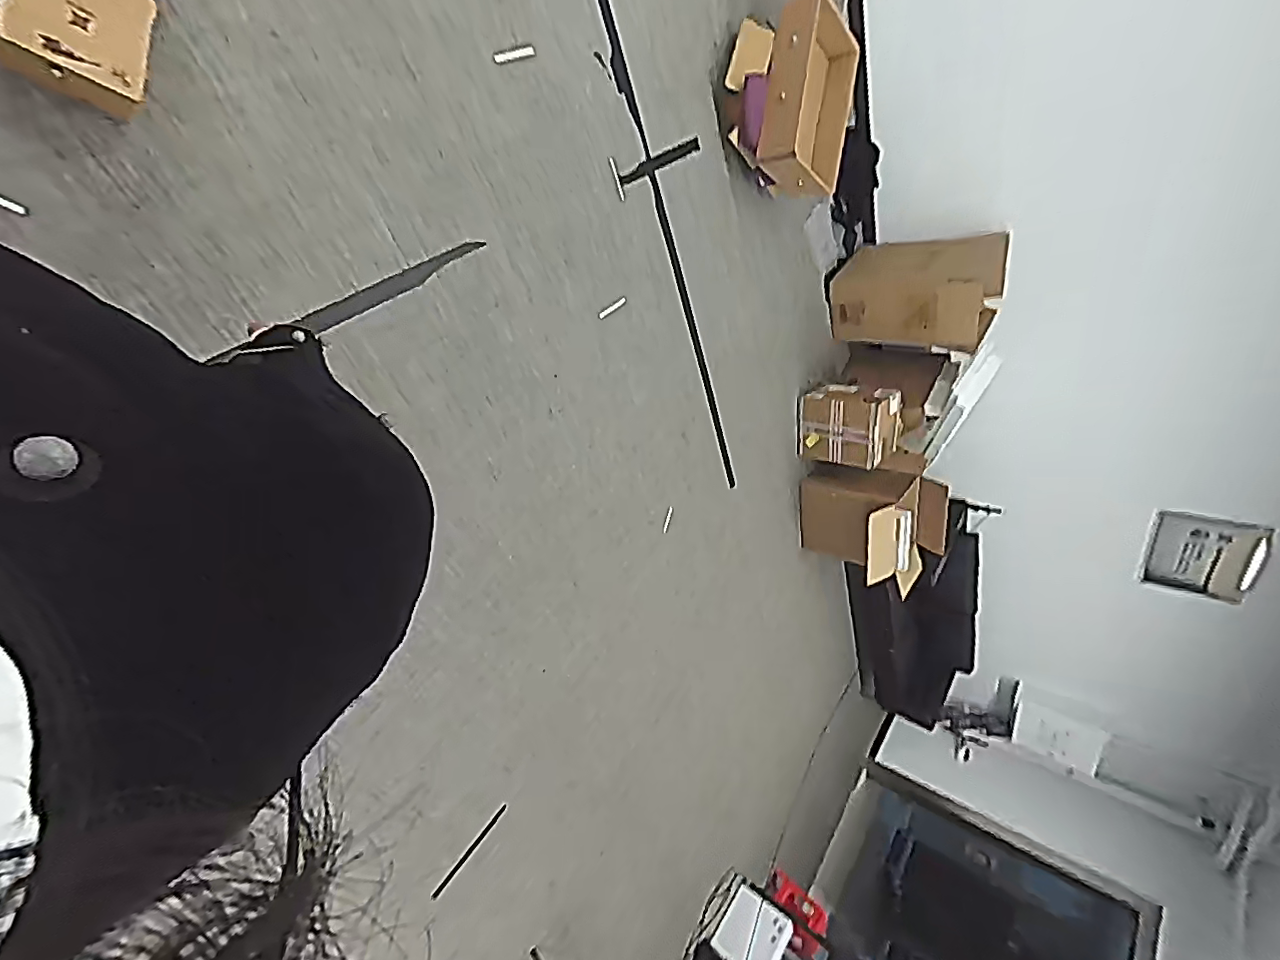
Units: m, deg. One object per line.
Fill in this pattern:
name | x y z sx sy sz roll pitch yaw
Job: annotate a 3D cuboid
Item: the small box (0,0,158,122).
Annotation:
small box | -0.959 -0.761 0.924 0.168 0.176 0.179 9 94 -49
